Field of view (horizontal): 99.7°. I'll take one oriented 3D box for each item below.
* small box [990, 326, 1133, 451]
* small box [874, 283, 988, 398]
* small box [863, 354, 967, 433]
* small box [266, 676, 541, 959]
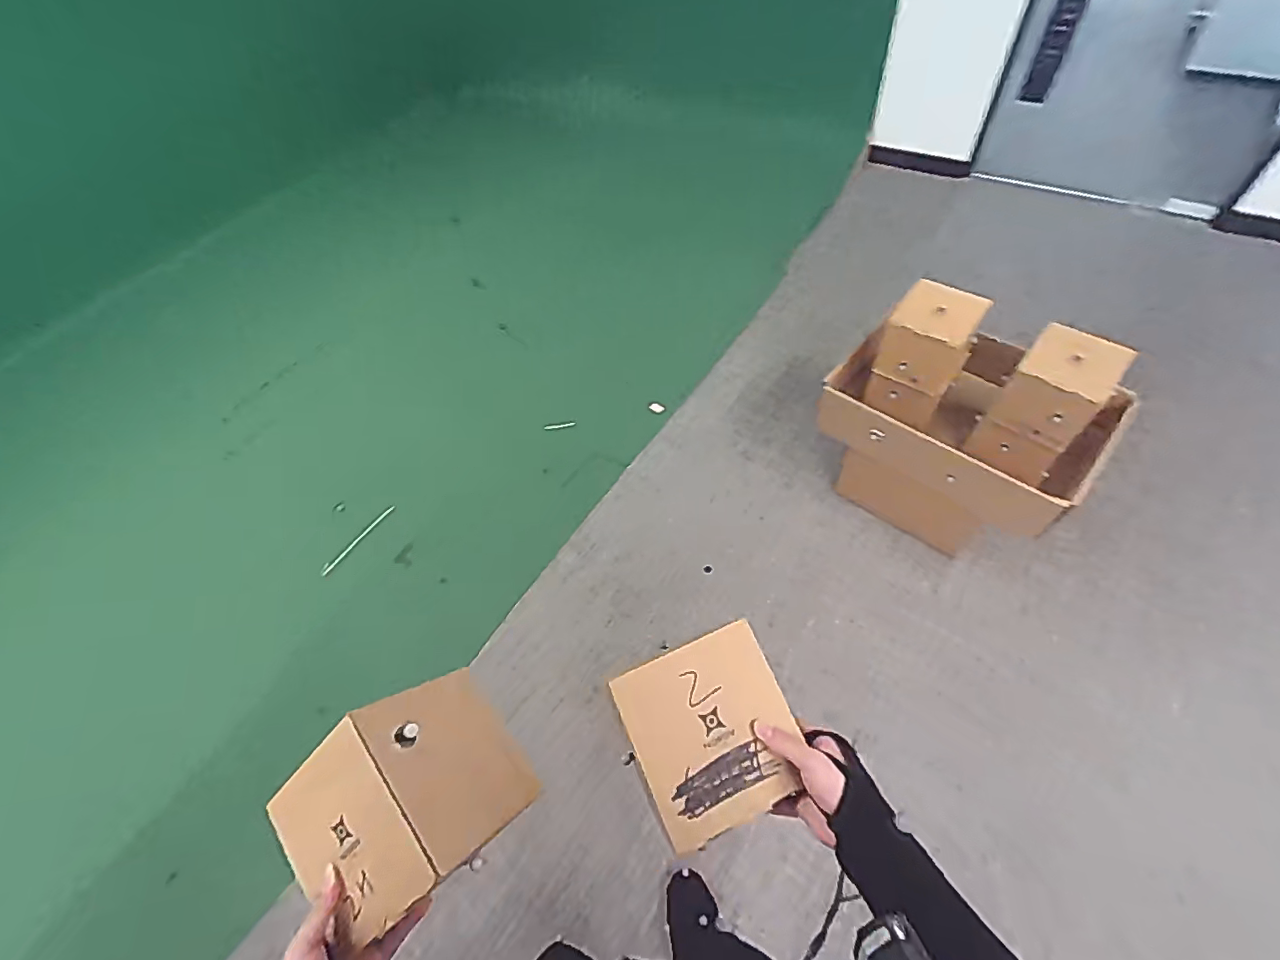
[{"bbox_3d":[0.904,-0.194,1.179,0.168,0.176,0.179,35,68,26],"label":"small box"},{"bbox_3d":[0.692,-0.335,1.305,0.168,0.176,0.179,32,67,25],"label":"small box"},{"bbox_3d":[0.723,-0.254,1.442,0.179,0.176,0.168,33,67,26],"label":"small box"},{"bbox_3d":[-0.244,0.334,0.580,0.168,0.176,0.179,-45,71,15],"label":"small box"}]
